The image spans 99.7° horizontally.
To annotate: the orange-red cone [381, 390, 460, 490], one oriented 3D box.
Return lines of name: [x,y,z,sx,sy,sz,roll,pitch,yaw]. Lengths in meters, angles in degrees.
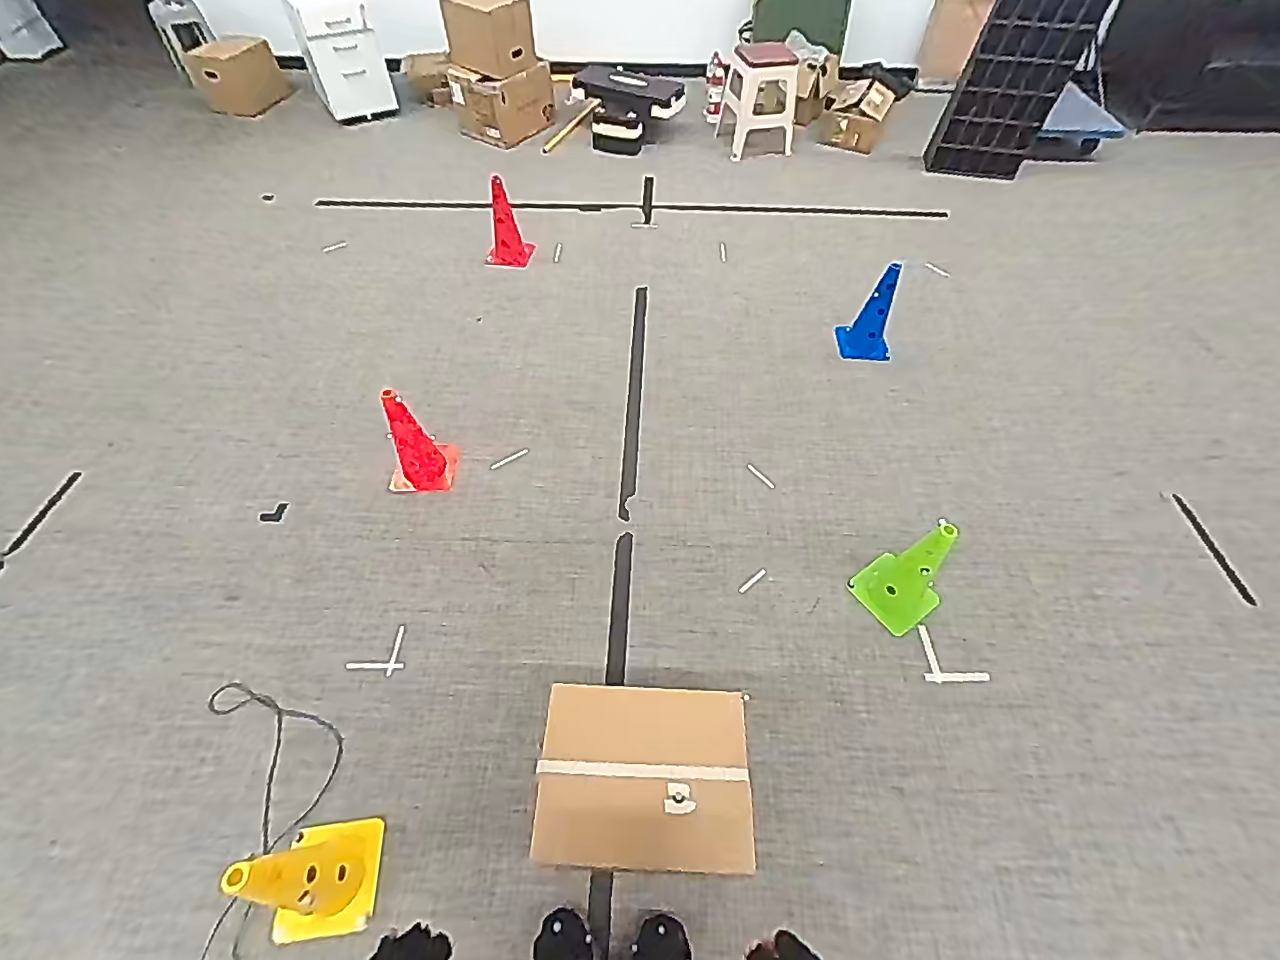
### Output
orange-red cone: [-0.723,-0.144,1.695,0.198,0.360,0.199,-1,55,0]

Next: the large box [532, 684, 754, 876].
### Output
large box: [0.005,0.653,1.165,0.408,0.320,0.320,3,53,0]

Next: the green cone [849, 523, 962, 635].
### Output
green cone: [0.746,0.229,1.439,0.202,0.368,0.200,-29,60,-22]

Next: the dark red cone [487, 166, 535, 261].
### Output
dark red cone: [-0.607,-1.202,2.442,0.201,0.394,0.202,7,54,3]

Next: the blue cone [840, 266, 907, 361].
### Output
blue cone: [0.938,-0.659,2.114,0.192,0.380,0.193,5,54,2]
